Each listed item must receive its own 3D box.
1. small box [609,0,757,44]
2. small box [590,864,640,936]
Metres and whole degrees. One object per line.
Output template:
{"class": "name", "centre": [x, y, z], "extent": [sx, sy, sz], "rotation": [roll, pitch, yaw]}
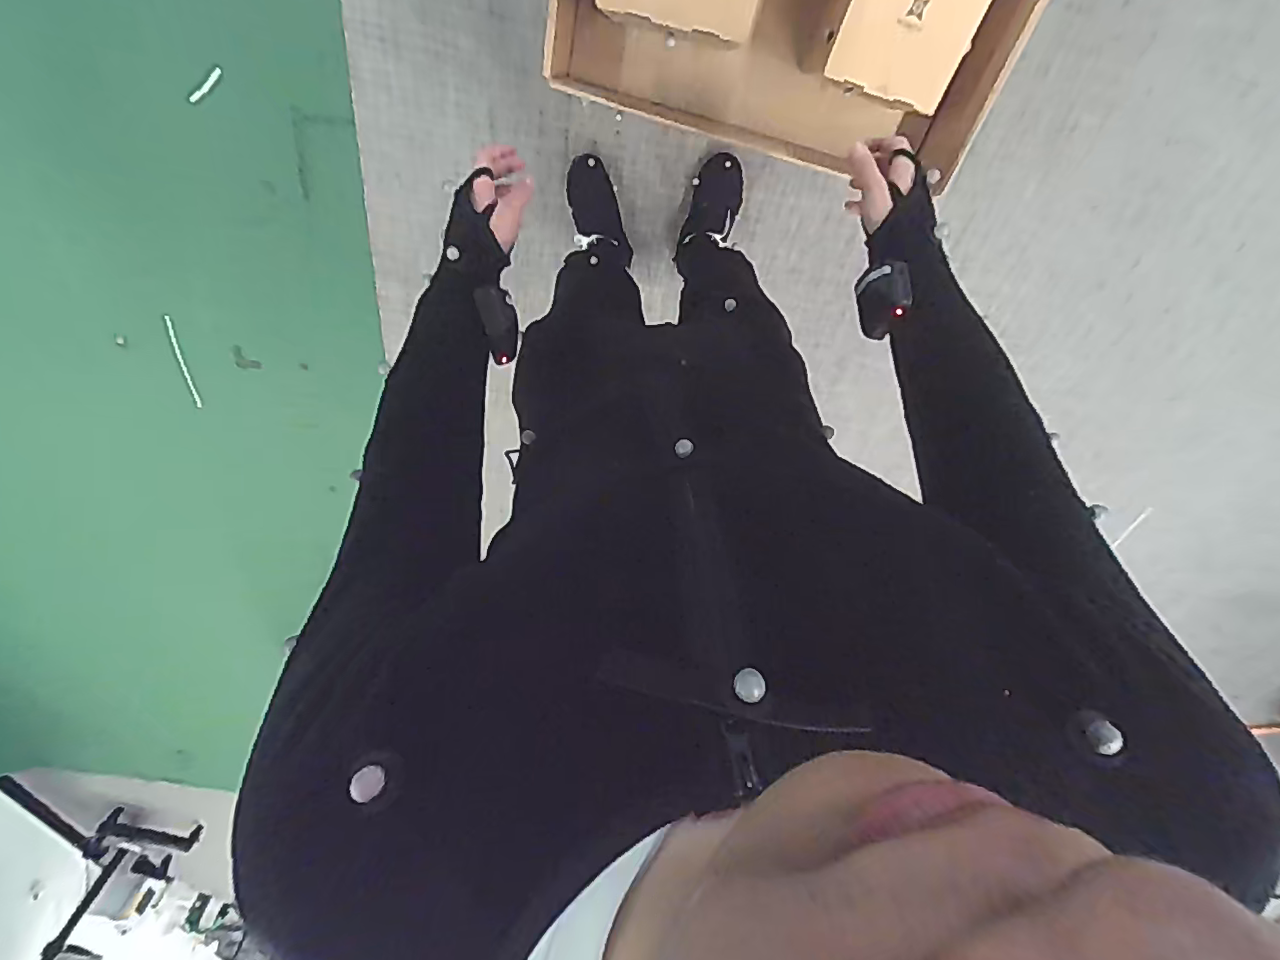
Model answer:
{"class": "small box", "centre": [0.055, -0.592, 0.571], "extent": [0.168, 0.176, 0.179], "rotation": [12, 127, -4]}
{"class": "small box", "centre": [-0.091, 1.547, 1.992], "extent": [0.168, 0.176, 0.179], "rotation": [6, 127, 1]}
